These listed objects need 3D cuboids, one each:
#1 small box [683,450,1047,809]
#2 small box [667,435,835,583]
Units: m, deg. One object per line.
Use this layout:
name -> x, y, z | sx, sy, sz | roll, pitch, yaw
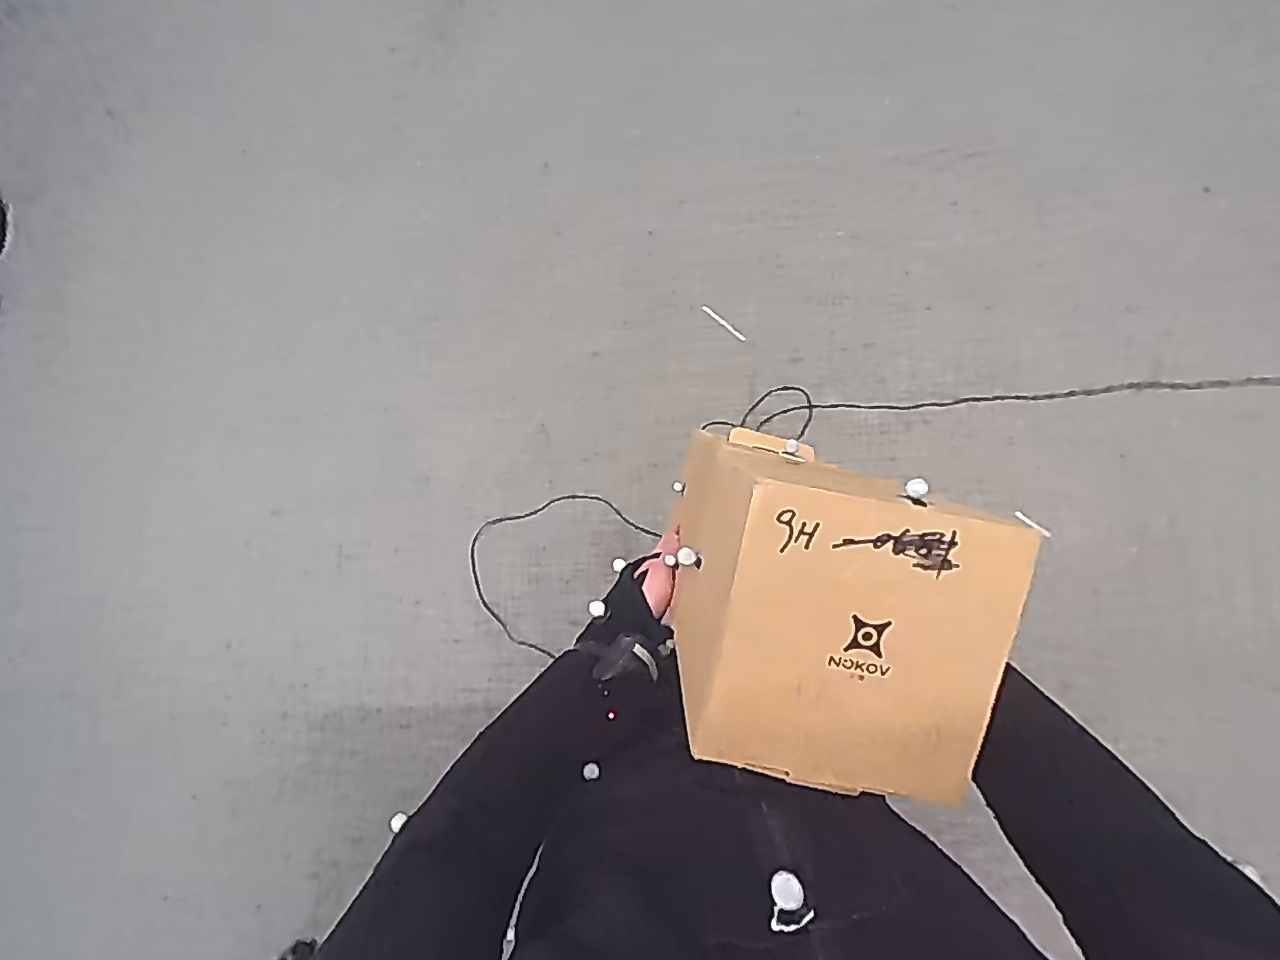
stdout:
small box -> 0.126, 0.083, 0.380 | 0.168, 0.176, 0.179 | 9, 99, -1
small box -> 0.131, 0.041, 0.704 | 0.168, 0.176, 0.179 | 13, 97, 0
